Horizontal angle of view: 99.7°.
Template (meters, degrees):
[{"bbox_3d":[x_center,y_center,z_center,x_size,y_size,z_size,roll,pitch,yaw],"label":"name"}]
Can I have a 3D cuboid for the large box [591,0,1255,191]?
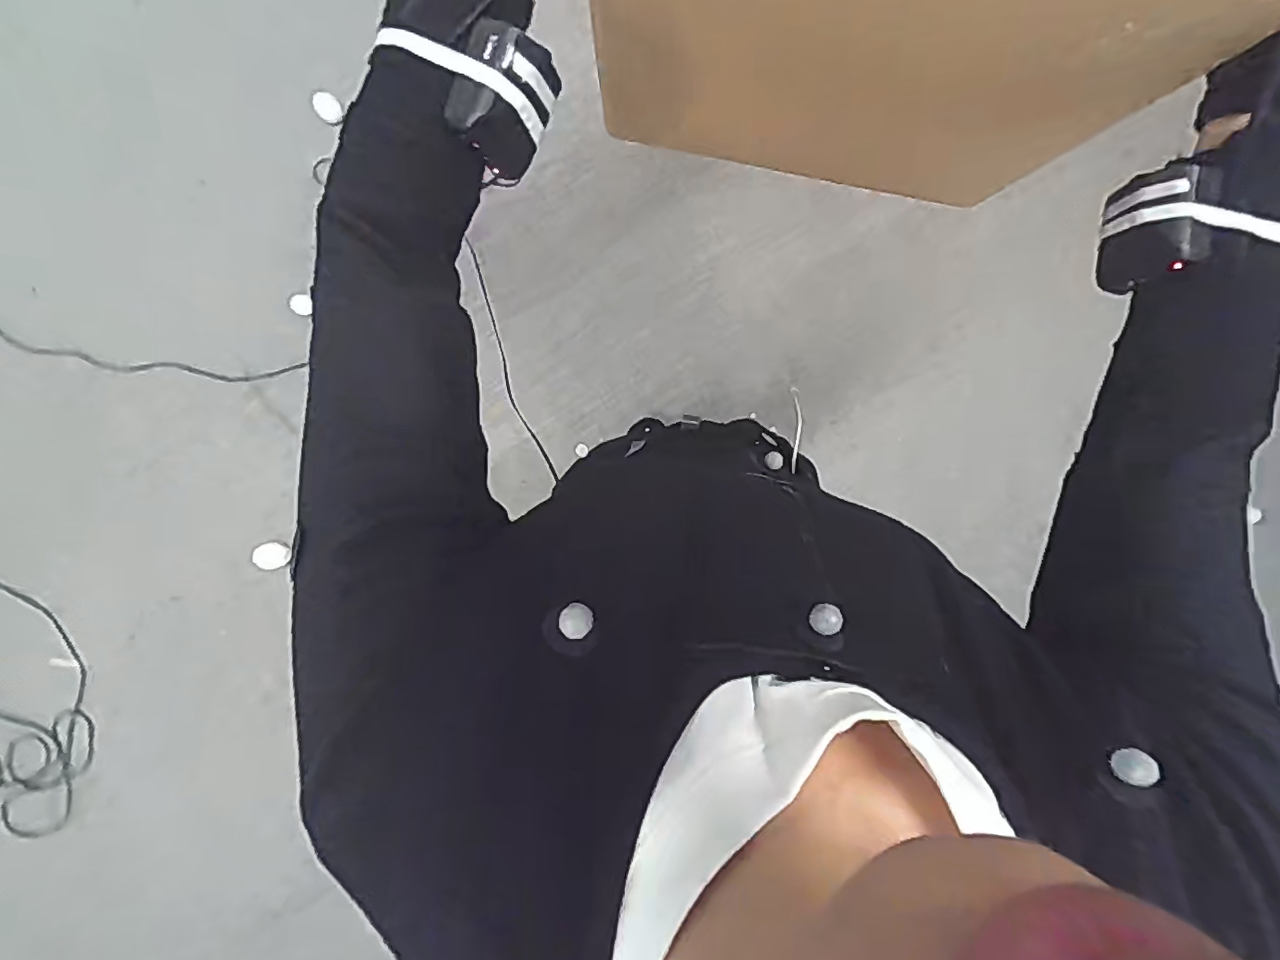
[{"bbox_3d":[0.177,-0.464,0.413,0.408,0.320,0.320,8,99,-3],"label":"large box"}]
